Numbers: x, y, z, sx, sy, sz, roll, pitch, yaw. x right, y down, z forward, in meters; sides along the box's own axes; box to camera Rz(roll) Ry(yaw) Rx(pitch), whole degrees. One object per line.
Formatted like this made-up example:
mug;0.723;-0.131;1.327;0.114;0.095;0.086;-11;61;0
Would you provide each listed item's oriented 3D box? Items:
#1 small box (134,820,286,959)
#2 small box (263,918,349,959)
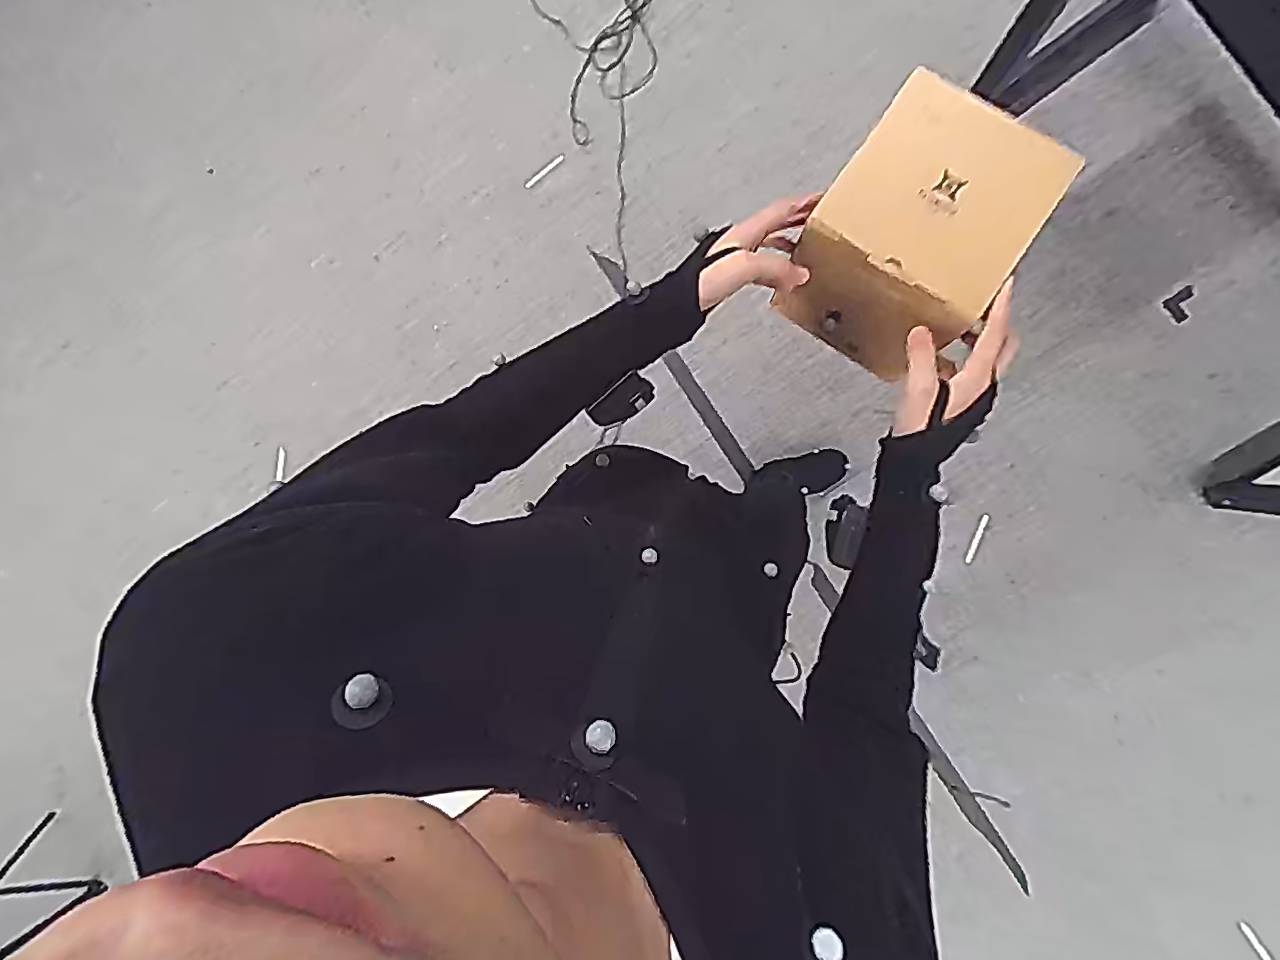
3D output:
small box;-0.939;0.904;1.194;0.179;0.176;0.168;-32;89;12
small box;-0.774;1.128;1.184;0.179;0.176;0.168;-39;86;11
